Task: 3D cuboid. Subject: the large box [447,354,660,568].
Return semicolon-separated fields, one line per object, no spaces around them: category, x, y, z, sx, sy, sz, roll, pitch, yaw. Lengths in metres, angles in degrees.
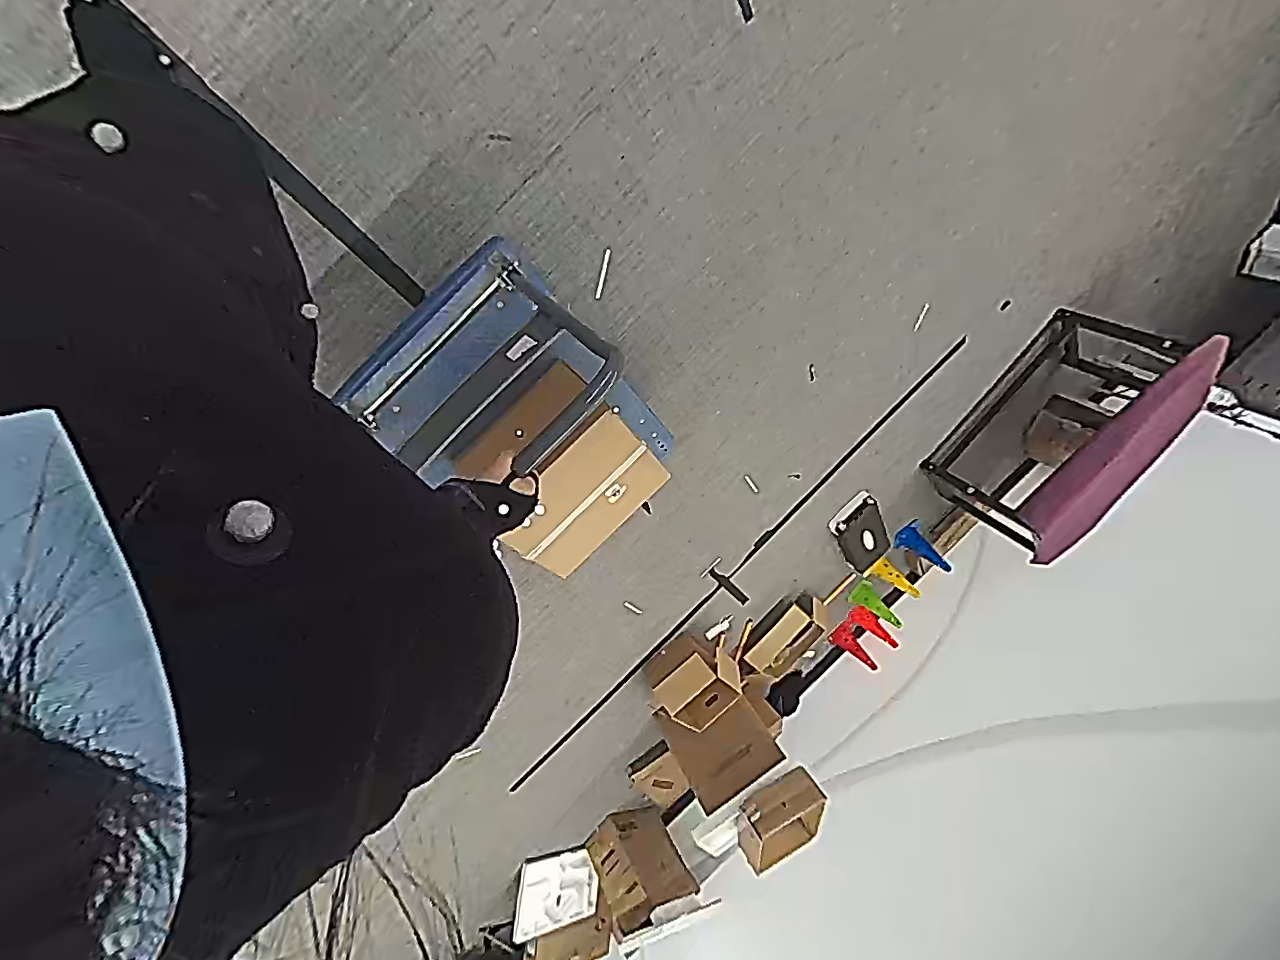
large box;-0.233;-0.052;1.436;0.408;0.320;0.320;-45;137;0
